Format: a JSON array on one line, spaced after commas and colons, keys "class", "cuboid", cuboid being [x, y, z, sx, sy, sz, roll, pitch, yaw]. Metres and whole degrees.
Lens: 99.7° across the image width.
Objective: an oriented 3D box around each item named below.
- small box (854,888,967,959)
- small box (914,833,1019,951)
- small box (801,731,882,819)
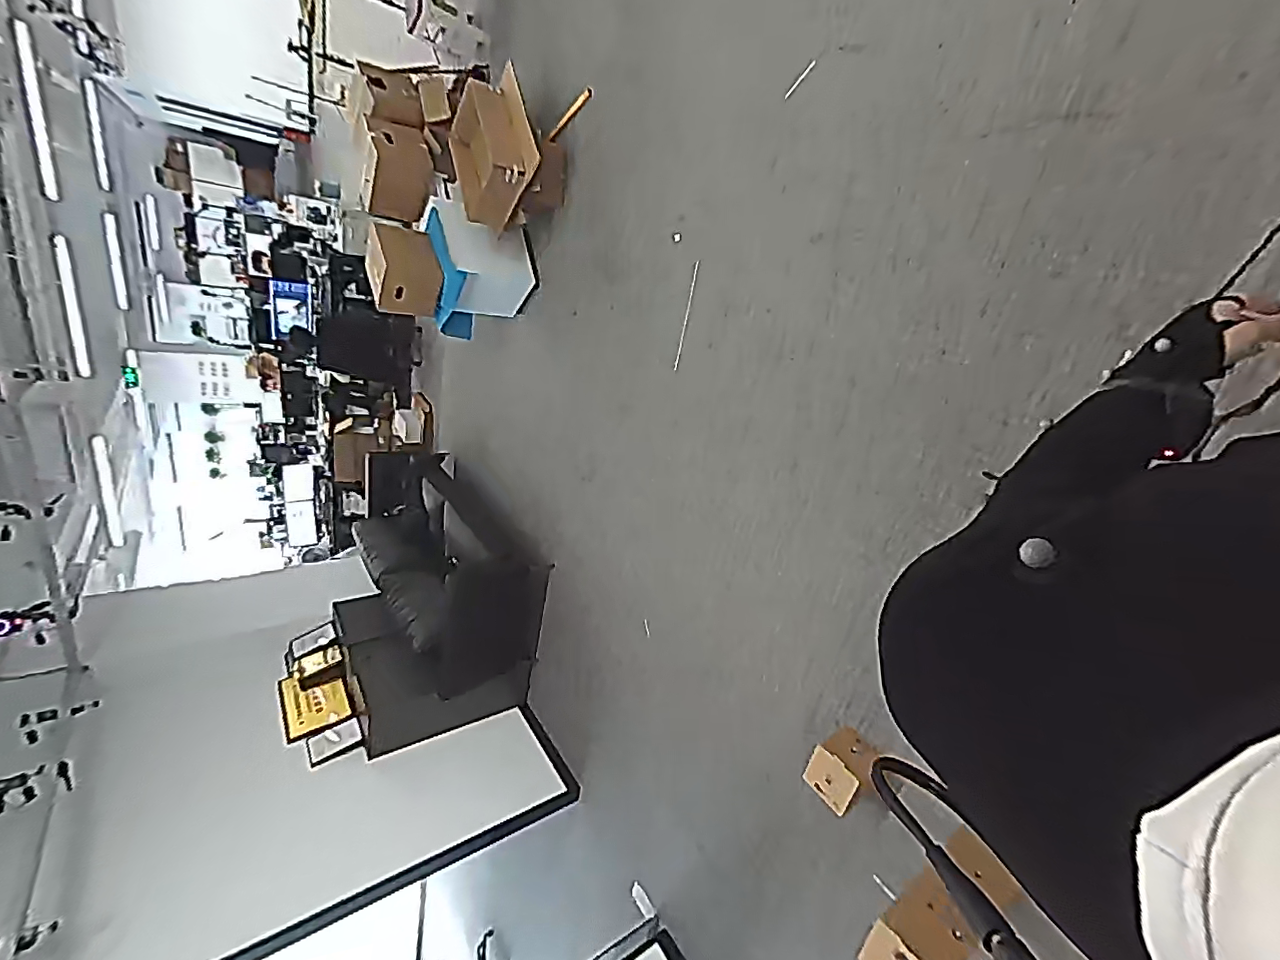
[{"class": "small box", "cuboid": [0.665, 1.160, 1.322, 0.168, 0.176, 0.179, 34, 121, 46]}, {"class": "small box", "cuboid": [0.923, 1.150, 1.525, 0.179, 0.176, 0.168, 36, 121, 46]}, {"class": "small box", "cuboid": [0.684, 0.987, 1.826, 0.168, 0.176, 0.179, 38, 122, 45]}]
